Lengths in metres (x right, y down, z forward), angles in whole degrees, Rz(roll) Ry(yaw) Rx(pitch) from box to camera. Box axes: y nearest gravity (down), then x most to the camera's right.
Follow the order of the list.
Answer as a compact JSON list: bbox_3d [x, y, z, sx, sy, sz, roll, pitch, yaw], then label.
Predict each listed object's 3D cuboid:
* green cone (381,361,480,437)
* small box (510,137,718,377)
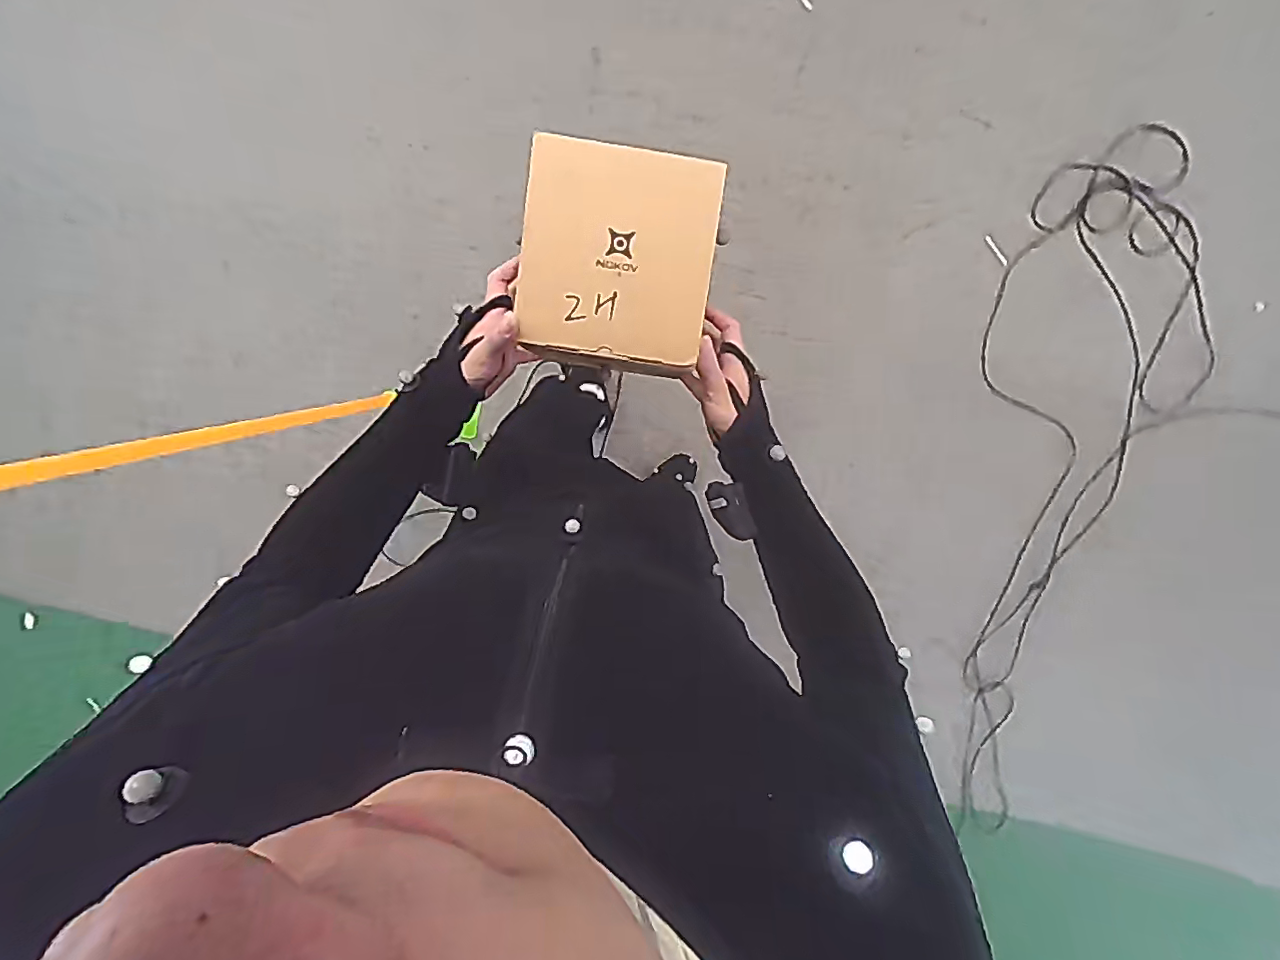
[{"bbox_3d":[-0.591,-0.213,1.446,0.202,0.368,0.200,12,99,-1],"label":"green cone"},{"bbox_3d":[-0.028,-0.207,0.554,0.168,0.176,0.179,8,98,-3],"label":"small box"}]
